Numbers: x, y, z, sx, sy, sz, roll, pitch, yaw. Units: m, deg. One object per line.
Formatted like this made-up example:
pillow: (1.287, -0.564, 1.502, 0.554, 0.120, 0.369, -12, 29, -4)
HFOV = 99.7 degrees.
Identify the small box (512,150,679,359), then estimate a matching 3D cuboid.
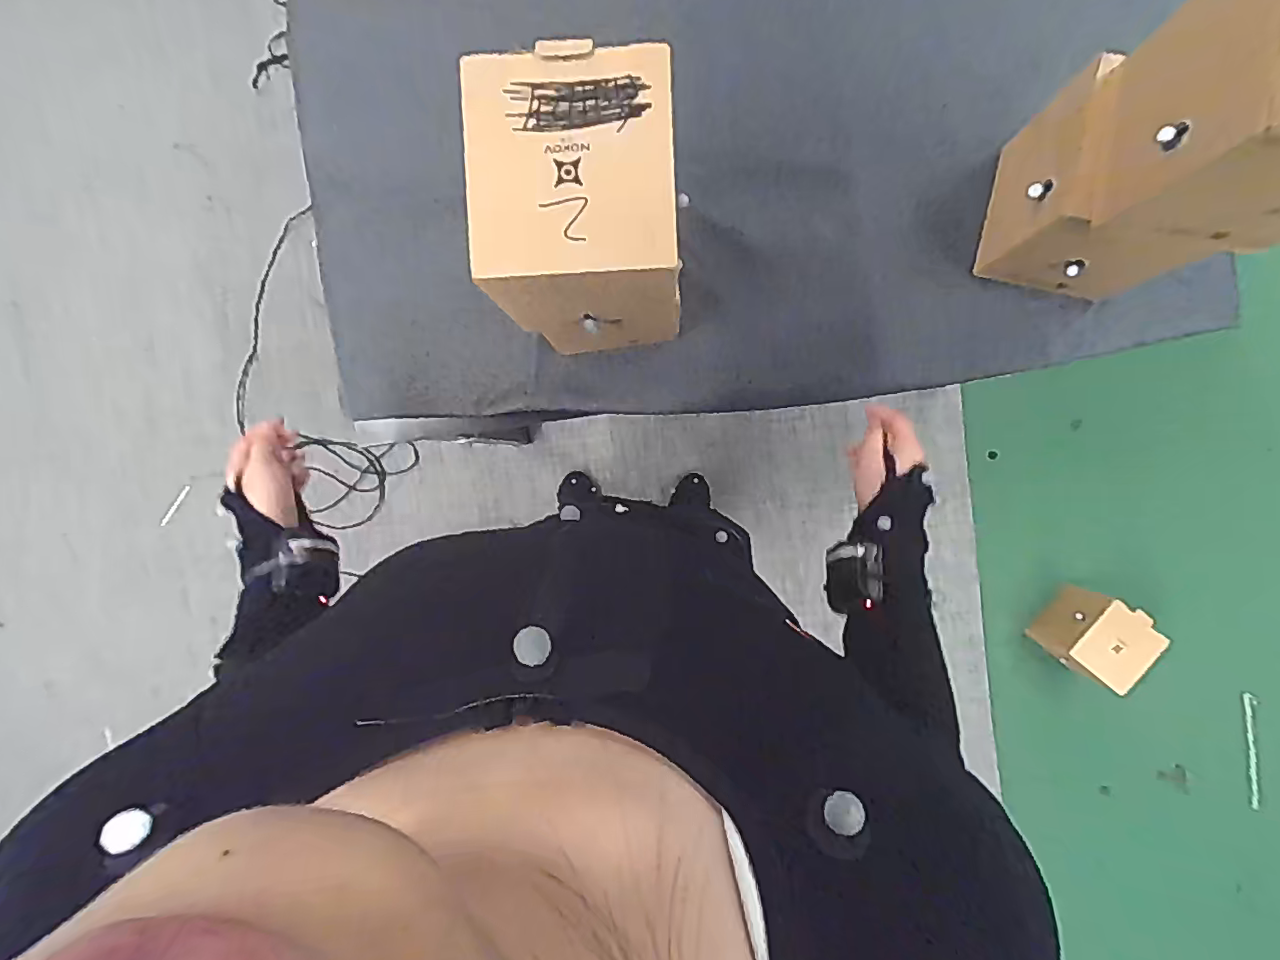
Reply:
small box: (-0.046, -0.260, 0.664, 0.168, 0.176, 0.179, -8, 91, 4)

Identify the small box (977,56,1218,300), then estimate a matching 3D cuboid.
small box: (0.530, -0.329, 0.626, 0.168, 0.176, 0.179, 13, 90, 2)

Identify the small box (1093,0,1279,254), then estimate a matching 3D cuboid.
small box: (0.541, -0.317, 0.464, 0.168, 0.176, 0.179, 8, 90, 2)

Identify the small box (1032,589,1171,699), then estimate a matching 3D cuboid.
small box: (1.140, 0.402, 1.359, 0.168, 0.176, 0.179, 39, 93, 1)
